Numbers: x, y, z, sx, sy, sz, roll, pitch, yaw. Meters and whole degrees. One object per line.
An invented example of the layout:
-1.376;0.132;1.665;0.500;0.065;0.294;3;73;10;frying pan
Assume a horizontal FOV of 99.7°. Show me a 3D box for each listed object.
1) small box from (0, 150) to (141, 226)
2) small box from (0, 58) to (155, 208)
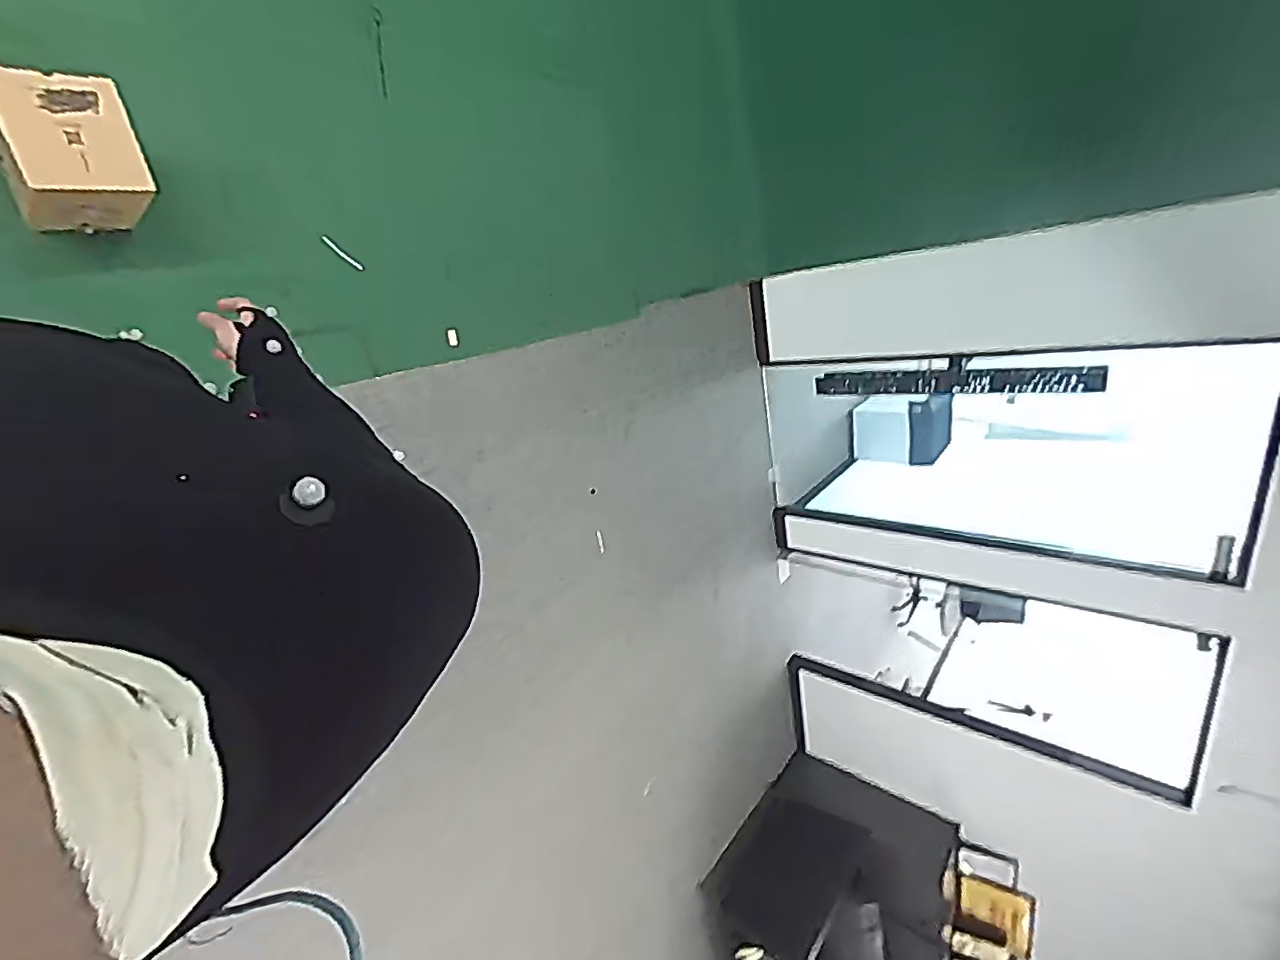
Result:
-1.116;-0.604;1.044;0.168;0.176;0.179;-27;116;-43;small box
-0.993;-0.587;0.937;0.168;0.176;0.179;-28;117;-43;small box
